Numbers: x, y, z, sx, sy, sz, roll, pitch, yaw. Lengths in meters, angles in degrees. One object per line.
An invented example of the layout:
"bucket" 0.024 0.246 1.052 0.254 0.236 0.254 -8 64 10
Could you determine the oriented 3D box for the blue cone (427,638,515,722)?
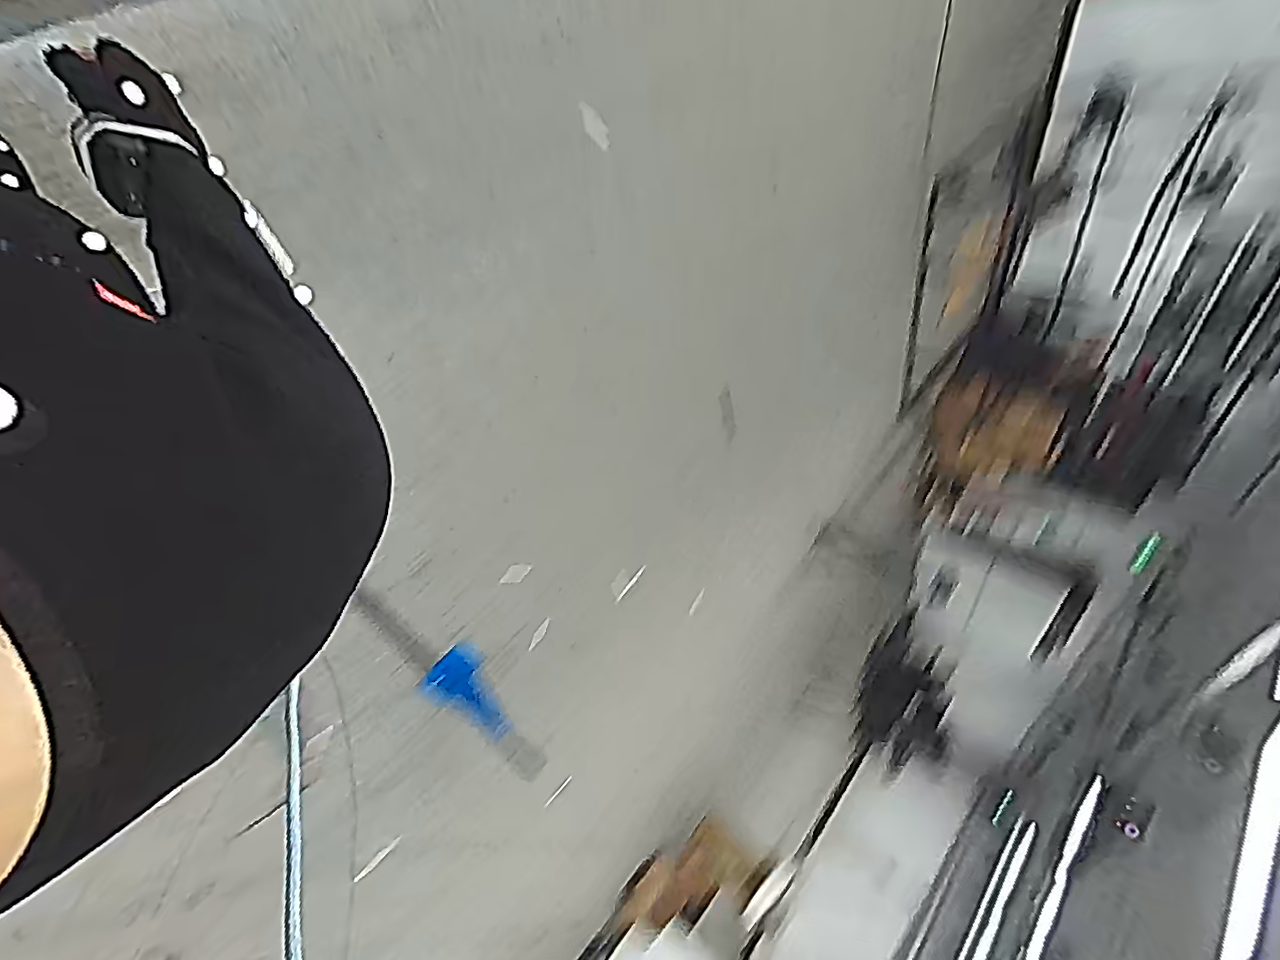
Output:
"blue cone" -0.595 0.775 1.994 0.192 0.380 0.193 -48 142 -23
